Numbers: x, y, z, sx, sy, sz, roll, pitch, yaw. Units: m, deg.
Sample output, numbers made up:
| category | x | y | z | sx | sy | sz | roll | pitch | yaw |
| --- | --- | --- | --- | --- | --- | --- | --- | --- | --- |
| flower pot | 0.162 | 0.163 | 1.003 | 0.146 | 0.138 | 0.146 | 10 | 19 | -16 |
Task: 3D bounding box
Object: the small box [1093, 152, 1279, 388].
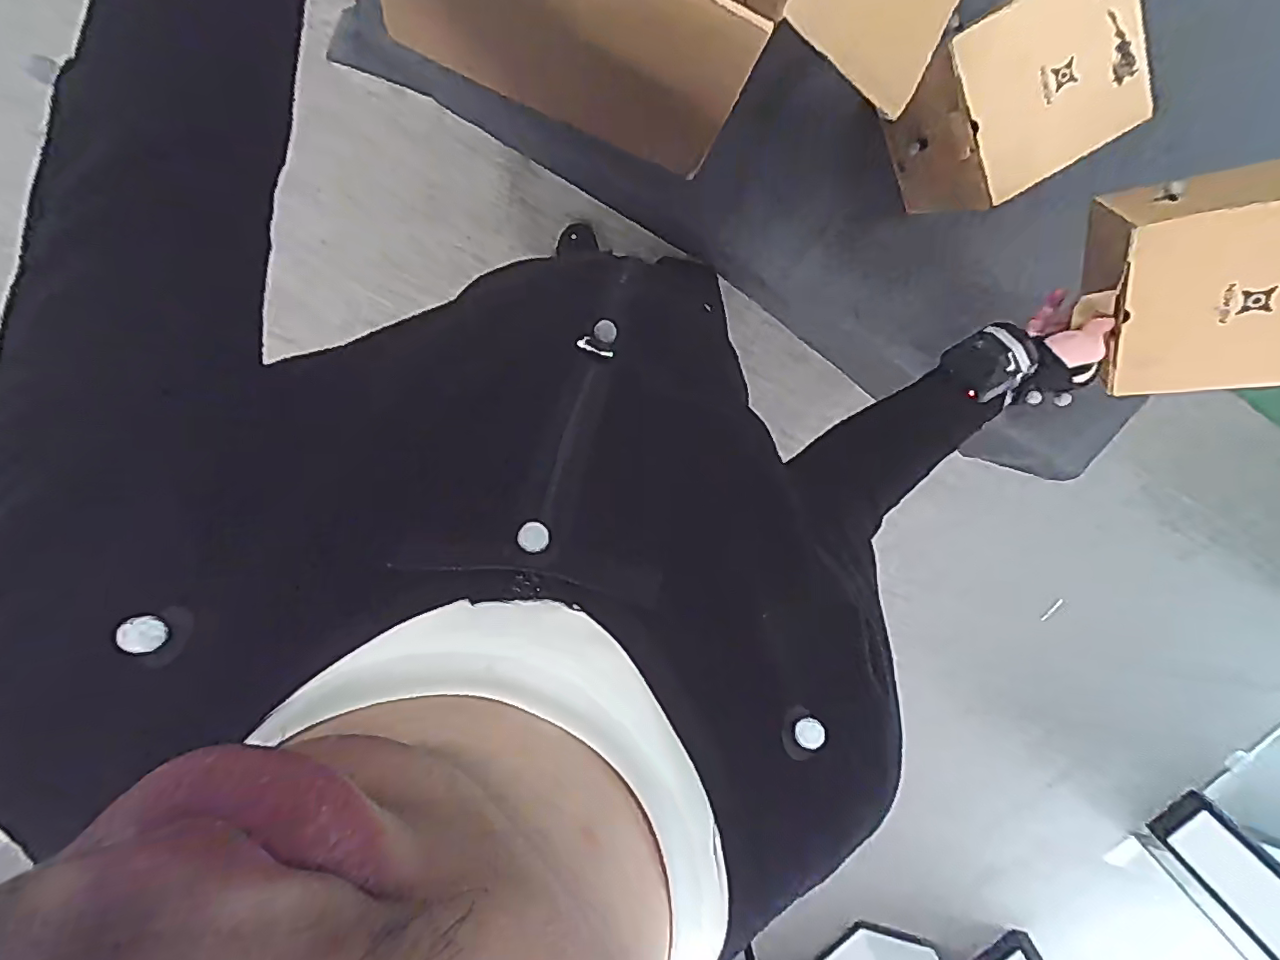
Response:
| category | x | y | z | sx | sy | sz | roll | pitch | yaw |
| --- | --- | --- | --- | --- | --- | --- | --- | --- | --- |
| small box | 0.564 | -0.203 | 0.517 | 0.179 | 0.176 | 0.168 | -1 | 122 | 29 |
